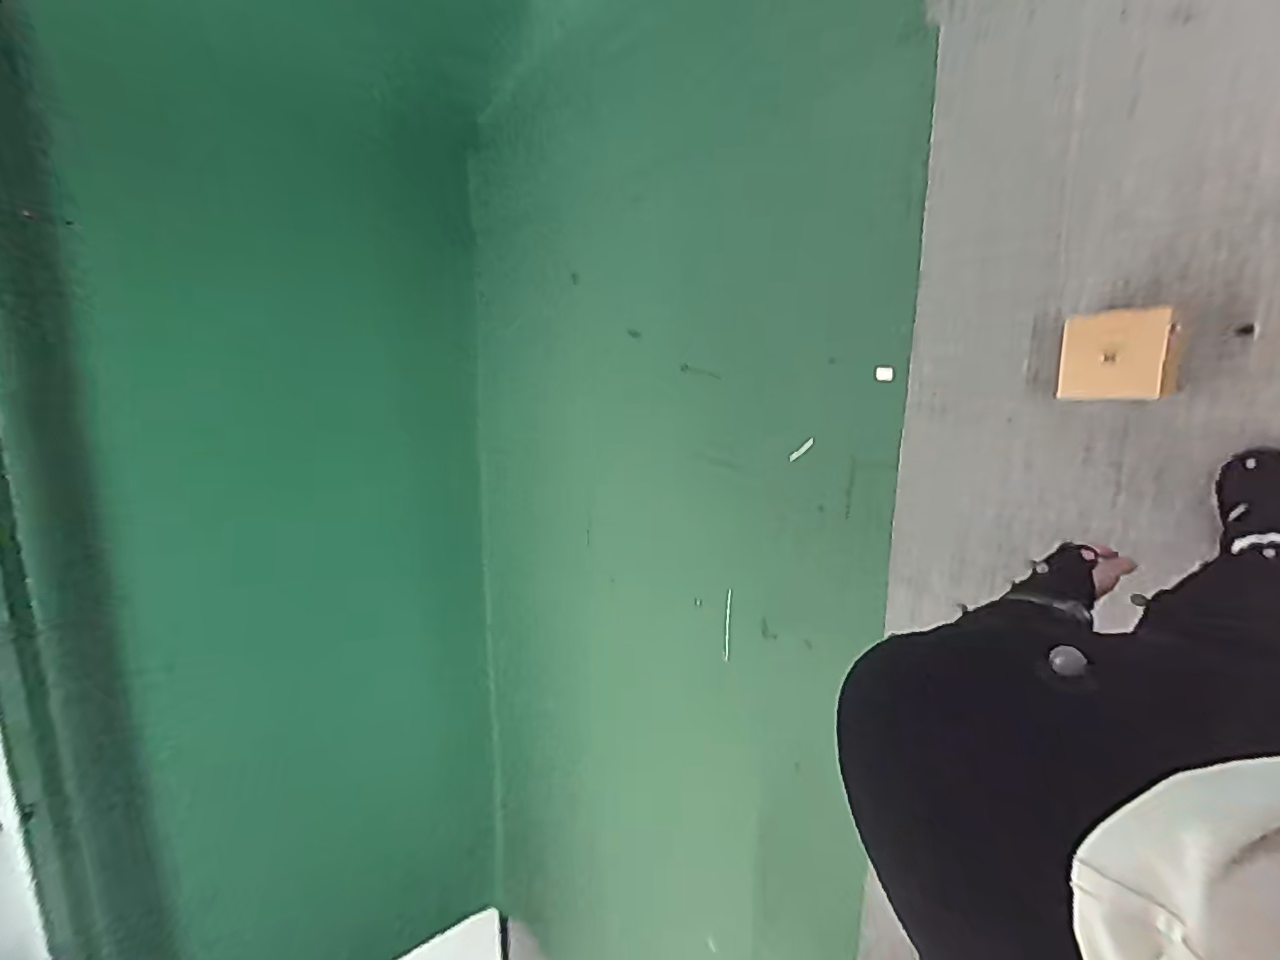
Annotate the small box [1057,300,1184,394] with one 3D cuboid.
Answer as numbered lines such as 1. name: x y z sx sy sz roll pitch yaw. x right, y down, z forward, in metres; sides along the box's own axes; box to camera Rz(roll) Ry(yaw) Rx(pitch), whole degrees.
1. small box: 1.010 -0.271 1.136 0.168 0.176 0.179 10 103 51
